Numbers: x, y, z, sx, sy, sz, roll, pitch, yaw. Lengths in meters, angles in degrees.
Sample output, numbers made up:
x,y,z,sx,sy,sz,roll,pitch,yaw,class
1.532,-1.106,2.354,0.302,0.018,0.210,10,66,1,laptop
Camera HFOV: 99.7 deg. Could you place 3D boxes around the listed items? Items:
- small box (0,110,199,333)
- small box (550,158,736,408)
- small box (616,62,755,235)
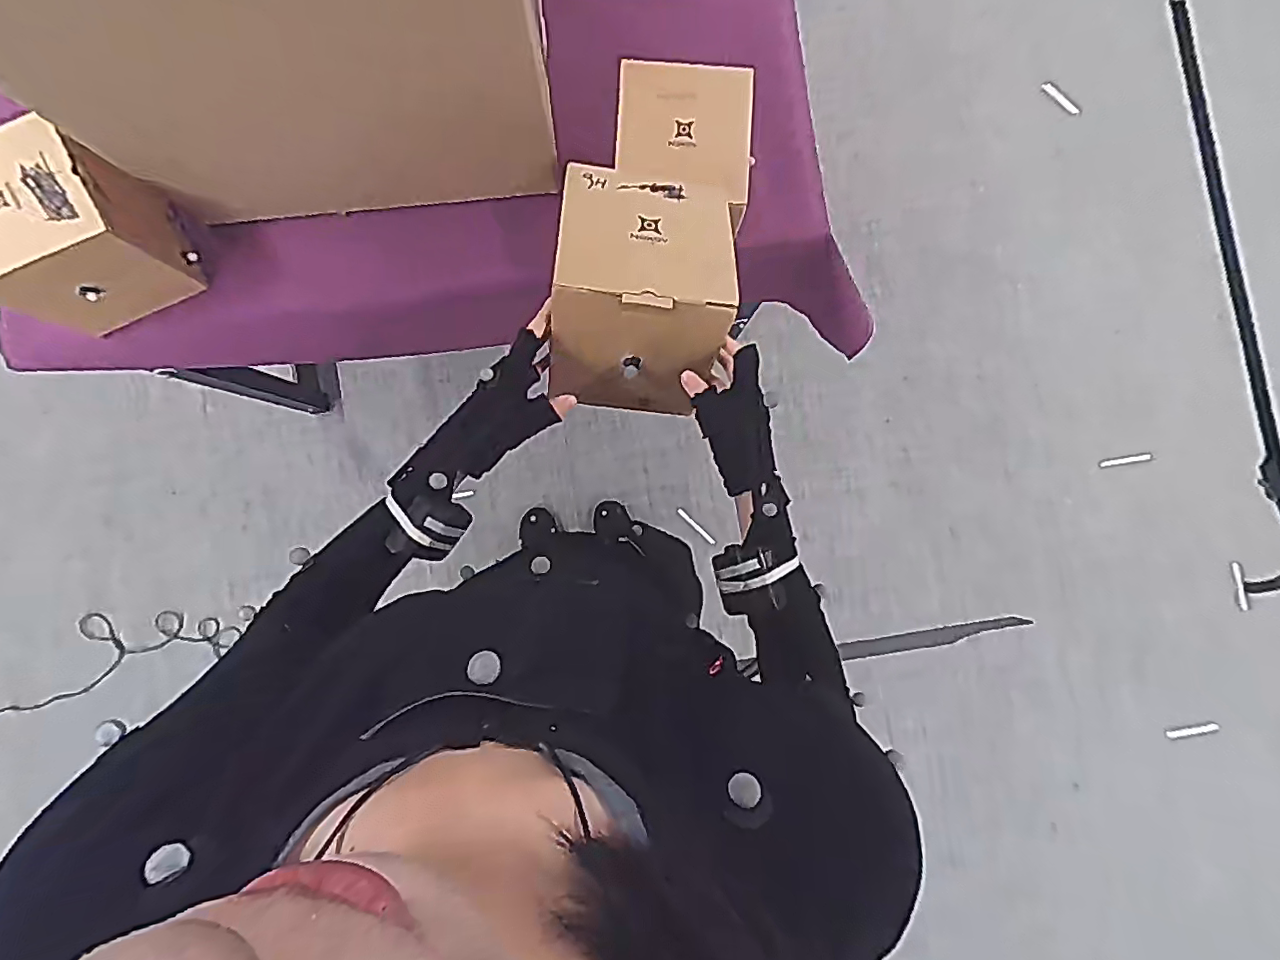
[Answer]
x,y,z,sx,sy,sz,roll,pitch,yaw,class
-0.730,-0.319,0.702,0.179,0.176,0.168,-27,88,-4,small box
-0.003,-0.196,0.573,0.168,0.176,0.179,6,62,-7,small box
0.053,-0.416,0.737,0.168,0.176,0.179,3,86,-2,small box
